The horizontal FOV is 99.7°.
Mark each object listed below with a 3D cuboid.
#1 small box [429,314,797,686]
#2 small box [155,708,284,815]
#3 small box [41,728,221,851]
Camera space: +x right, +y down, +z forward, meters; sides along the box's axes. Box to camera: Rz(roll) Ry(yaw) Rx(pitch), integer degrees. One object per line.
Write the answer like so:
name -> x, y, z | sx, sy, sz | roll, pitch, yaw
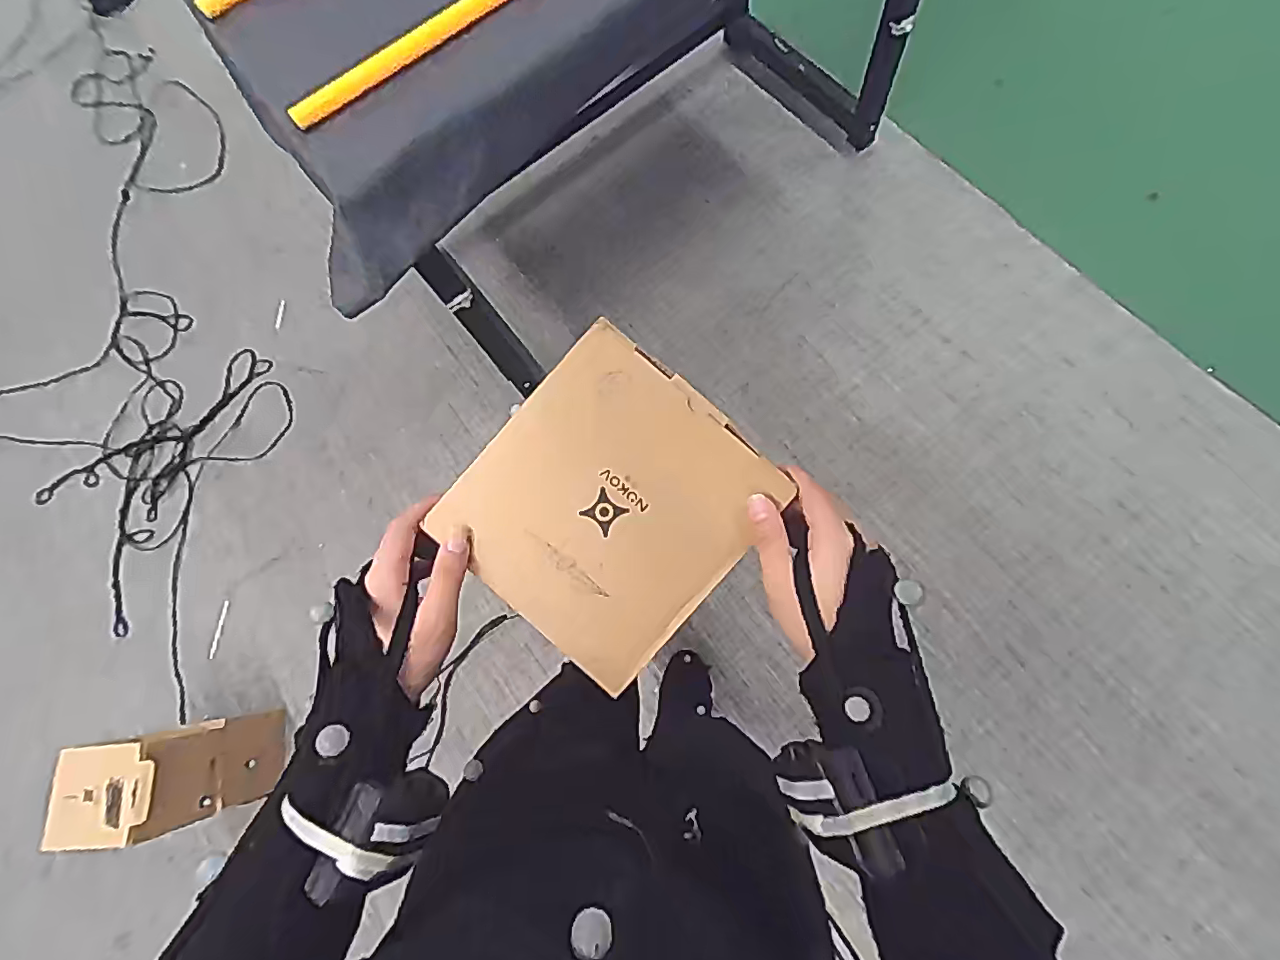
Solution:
small box -> -0.016, 0.012, 0.415 | 0.168, 0.176, 0.179 | 41, 91, 2
small box -> -0.915, 0.614, 1.182 | 0.168, 0.176, 0.179 | -11, 74, 5
small box -> -0.946, 0.575, 1.024 | 0.179, 0.176, 0.168 | -7, 73, 7
